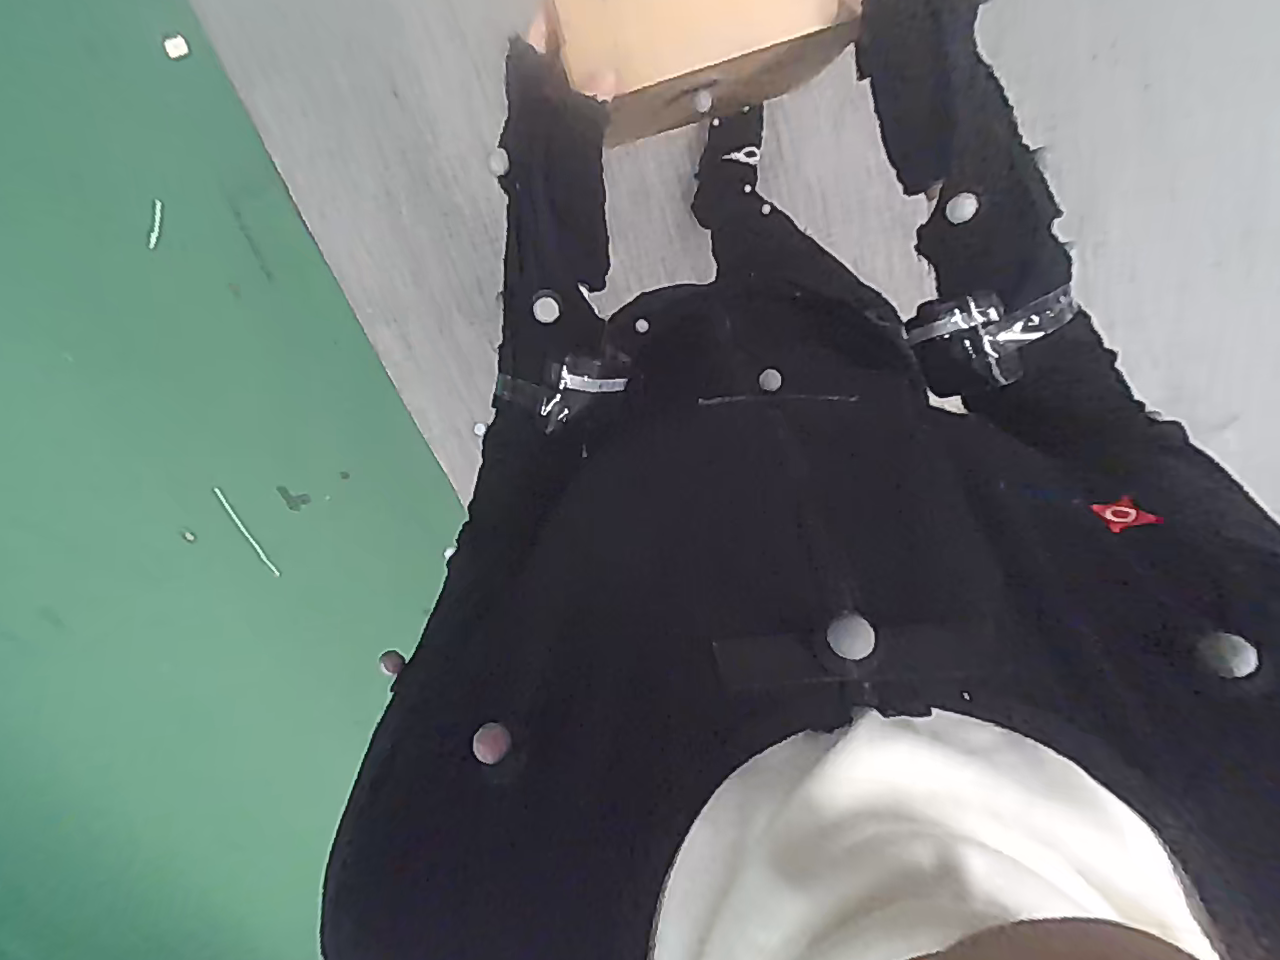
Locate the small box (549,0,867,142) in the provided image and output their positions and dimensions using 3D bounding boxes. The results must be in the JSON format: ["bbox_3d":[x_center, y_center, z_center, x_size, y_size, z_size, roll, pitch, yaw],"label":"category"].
[{"bbox_3d":[0.029,-0.349,0.359,0.179,0.176,0.168,-13,113,7],"label":"small box"}]
